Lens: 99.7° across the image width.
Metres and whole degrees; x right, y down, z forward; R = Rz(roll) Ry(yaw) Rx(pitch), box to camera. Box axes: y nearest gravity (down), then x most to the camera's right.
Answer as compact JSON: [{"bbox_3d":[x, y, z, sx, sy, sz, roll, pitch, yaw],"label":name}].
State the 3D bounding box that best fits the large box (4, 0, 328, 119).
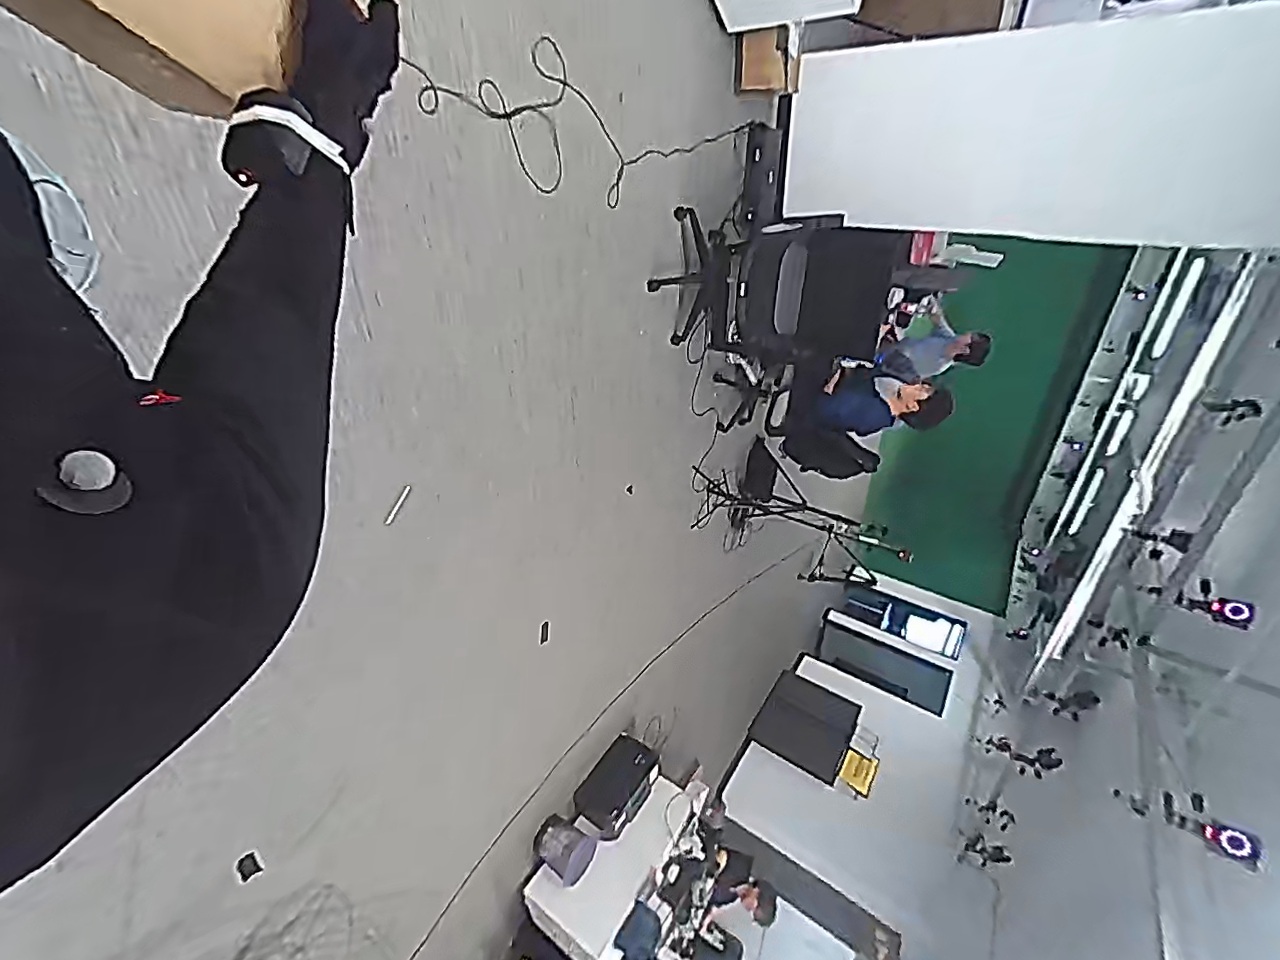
[{"bbox_3d":[-0.467,-0.546,0.373,0.408,0.320,0.320,20,98,-60],"label":"large box"}]
